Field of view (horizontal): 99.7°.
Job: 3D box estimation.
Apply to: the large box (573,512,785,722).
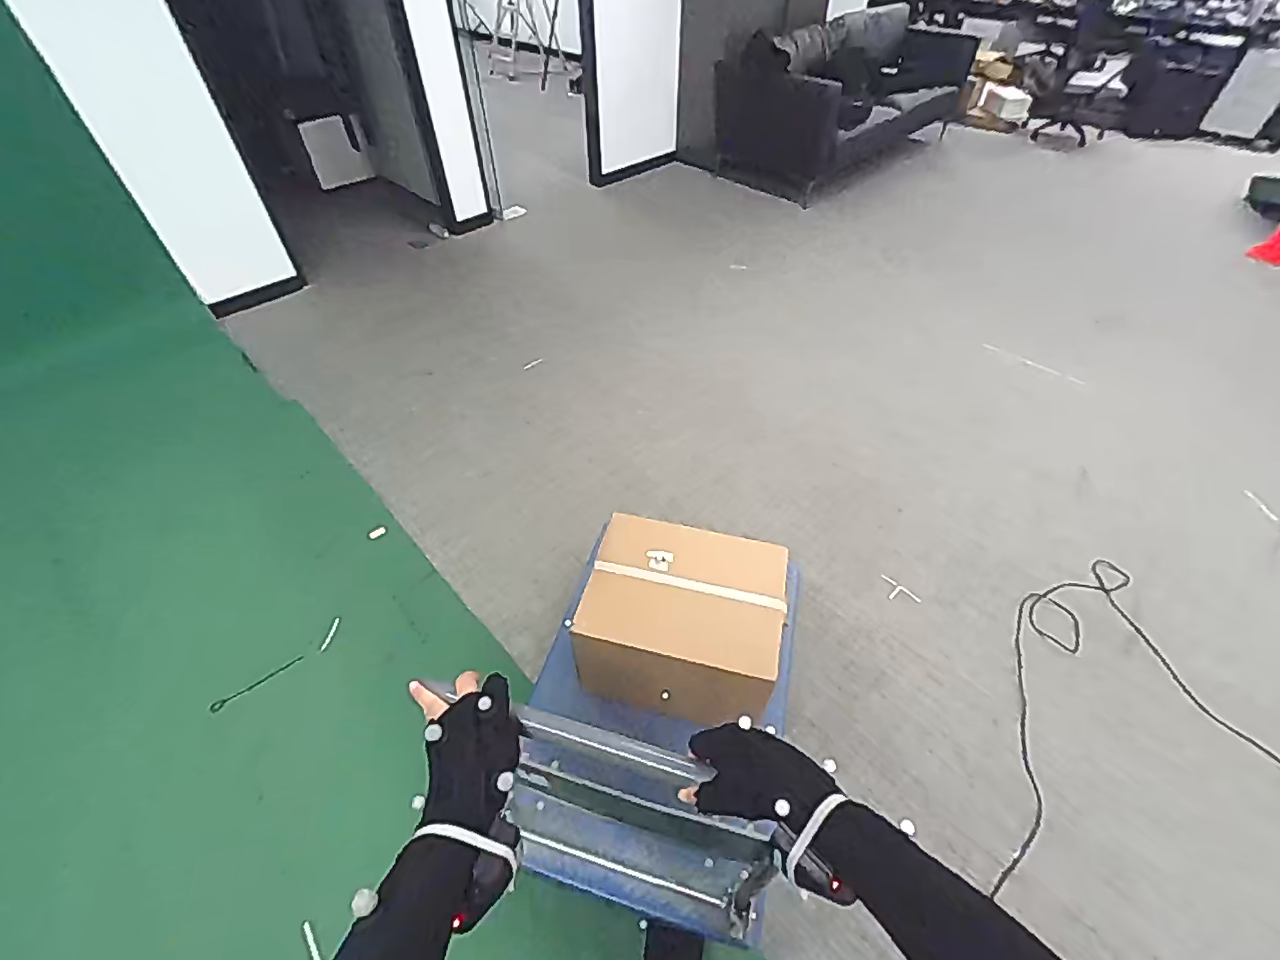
[{"bbox_3d":[0.098,0.314,1.243,0.408,0.320,0.320,10,48,10],"label":"large box"}]
